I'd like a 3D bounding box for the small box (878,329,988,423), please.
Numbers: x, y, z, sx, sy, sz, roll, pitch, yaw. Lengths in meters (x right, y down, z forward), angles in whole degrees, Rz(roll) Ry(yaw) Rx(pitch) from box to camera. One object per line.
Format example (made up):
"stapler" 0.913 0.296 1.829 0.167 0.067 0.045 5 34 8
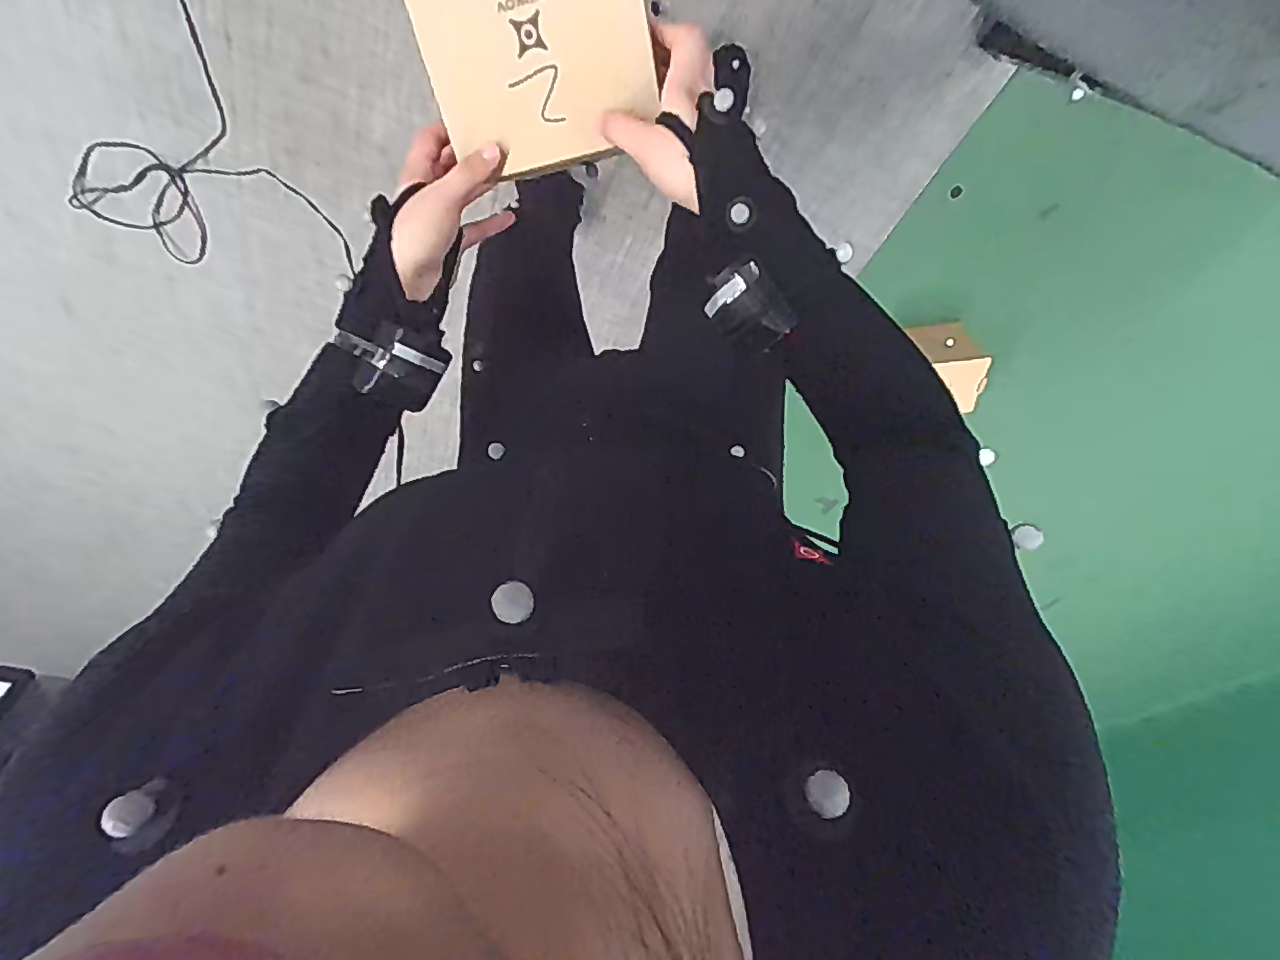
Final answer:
"small box" 0.733 -0.268 1.374 0.179 0.176 0.168 -6 135 6
